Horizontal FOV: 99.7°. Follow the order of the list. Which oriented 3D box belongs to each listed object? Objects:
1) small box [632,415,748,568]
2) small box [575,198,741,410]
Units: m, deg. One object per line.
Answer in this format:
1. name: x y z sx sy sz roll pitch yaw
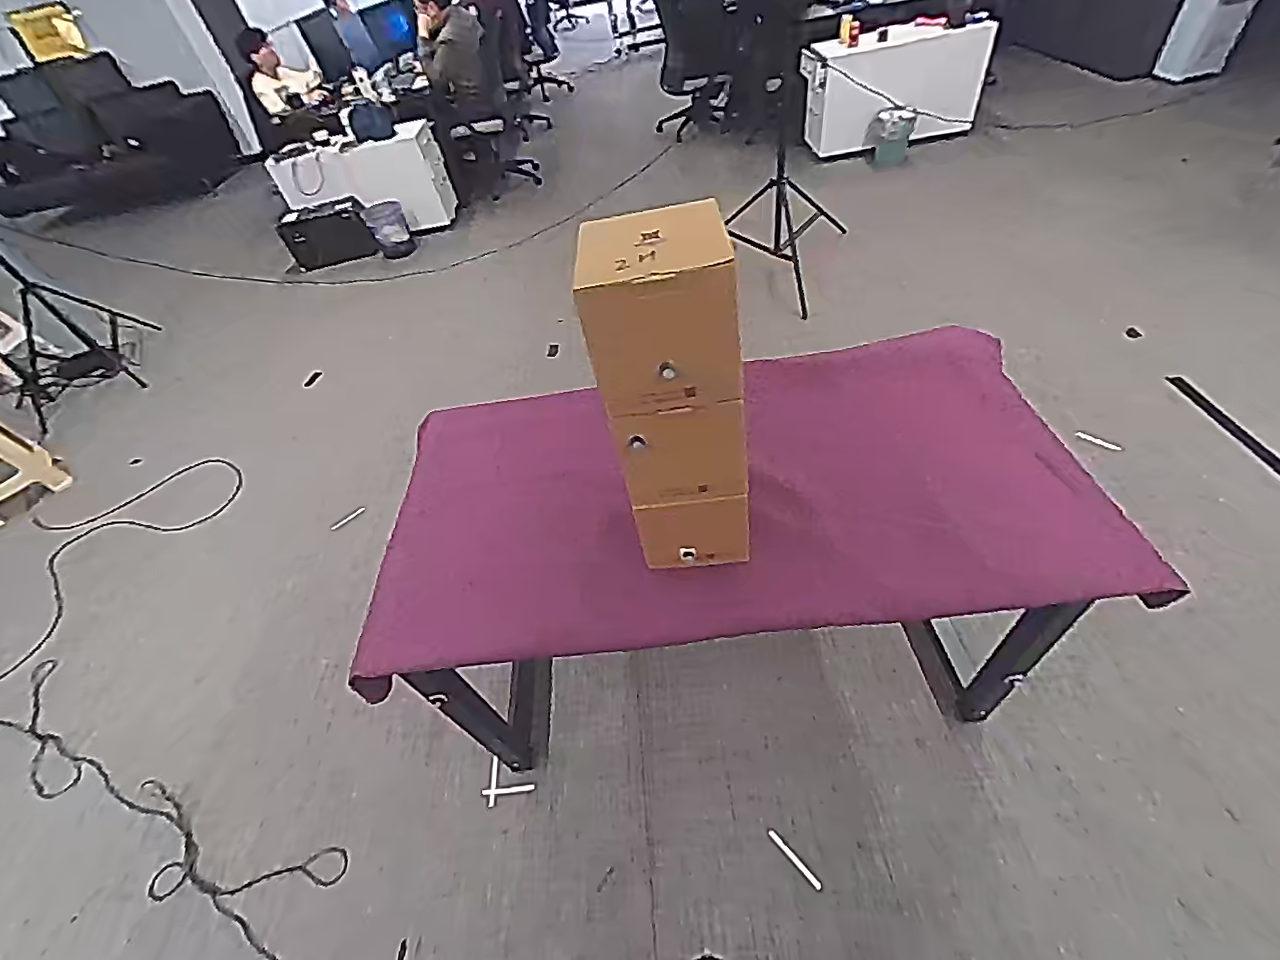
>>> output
1. small box: 0.081 0.020 0.879 0.168 0.176 0.179 -7 48 6
2. small box: 0.027 -0.208 0.647 0.168 0.176 0.179 -8 46 6
